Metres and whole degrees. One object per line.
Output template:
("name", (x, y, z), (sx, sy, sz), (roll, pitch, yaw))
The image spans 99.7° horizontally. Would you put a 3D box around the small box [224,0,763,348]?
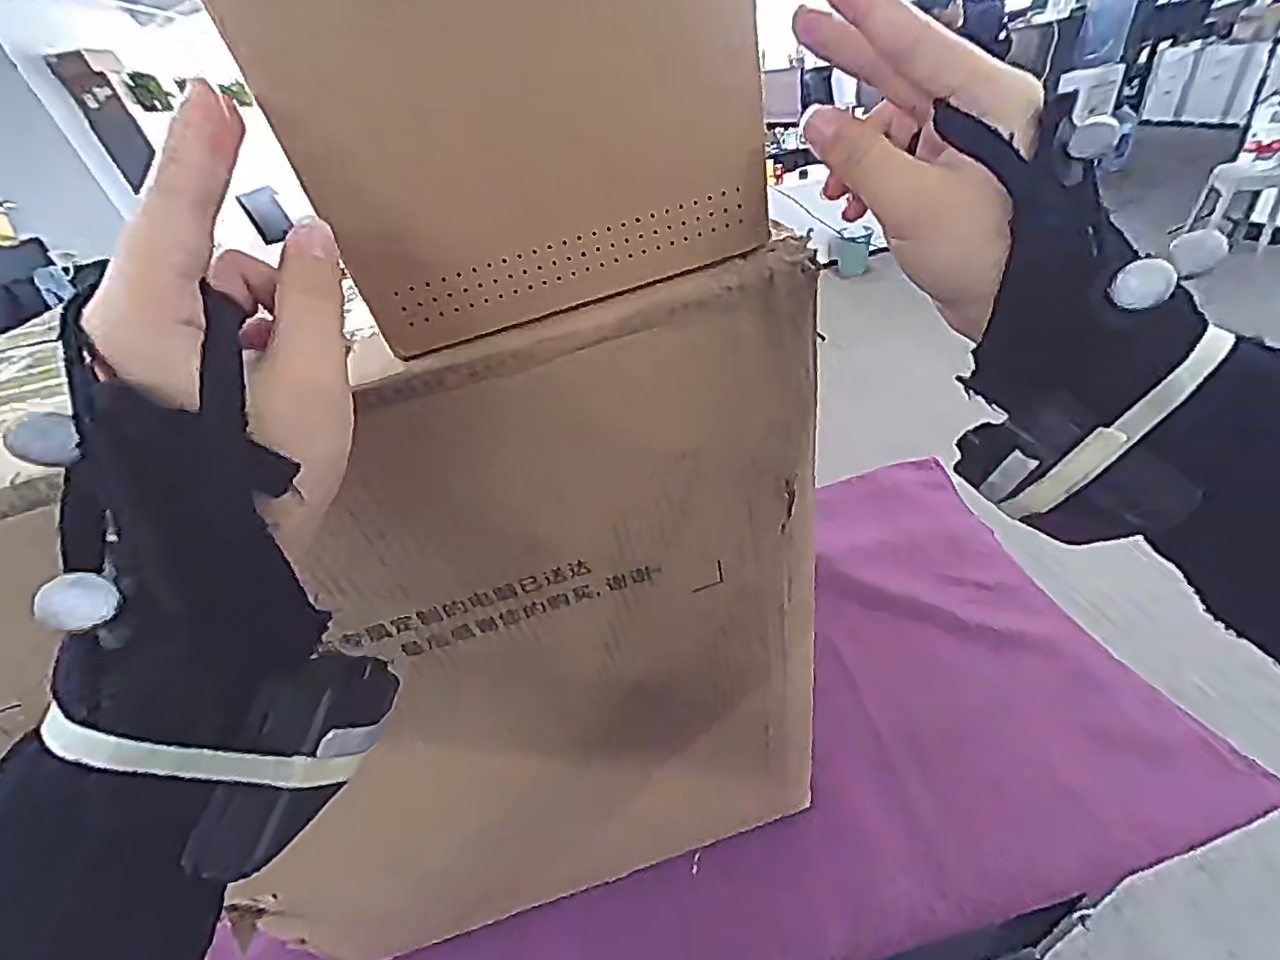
("small box", (-0.058, -0.181, 0.251), (0.179, 0.176, 0.168), (-19, 38, -5))
